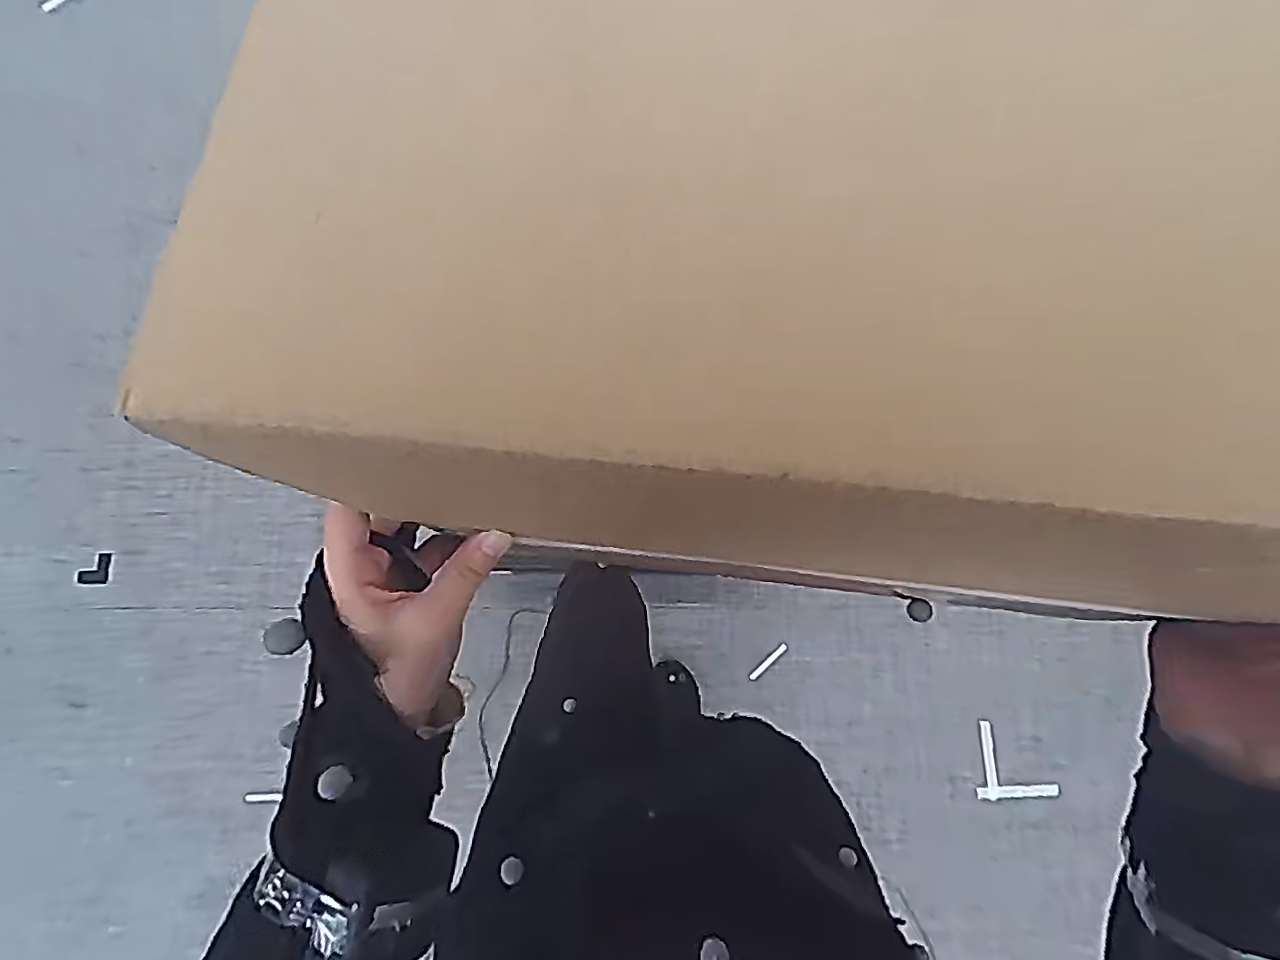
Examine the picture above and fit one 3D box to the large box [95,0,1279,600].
[{"bbox_3d":[0.083,-0.116,0.287,0.408,0.320,0.320,4,79,5],"label":"large box"}]
